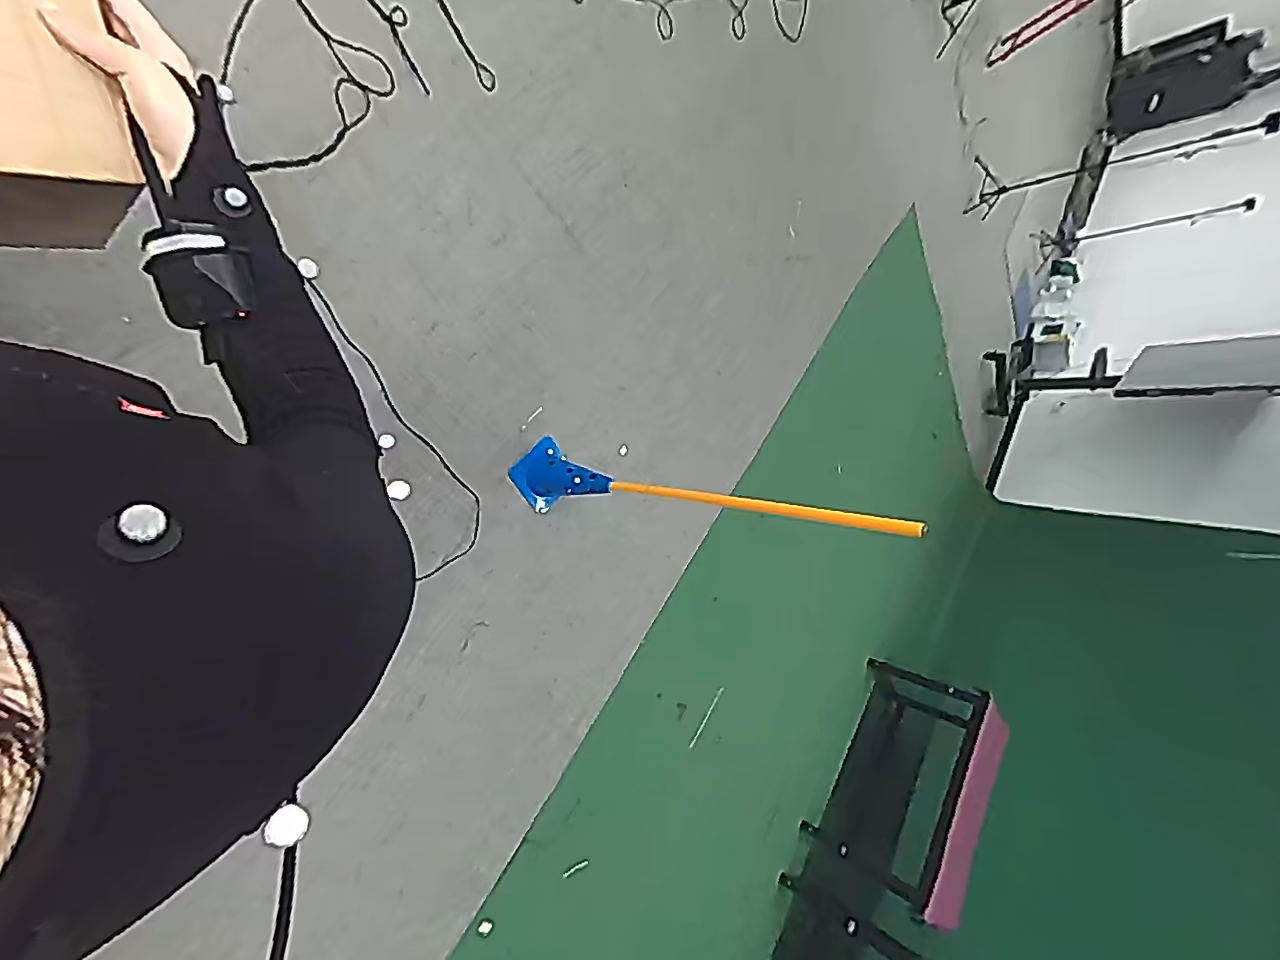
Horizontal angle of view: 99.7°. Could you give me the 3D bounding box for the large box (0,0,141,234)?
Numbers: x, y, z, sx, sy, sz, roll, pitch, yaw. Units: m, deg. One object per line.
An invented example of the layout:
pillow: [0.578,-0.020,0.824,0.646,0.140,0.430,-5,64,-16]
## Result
large box: [-0.618,-0.336,0.305,0.408,0.320,0.320,-23,115,-46]

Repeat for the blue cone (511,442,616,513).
blue cone: [-0.214,0.005,1.680,0.193,0.380,0.192,-48,126,-29]
